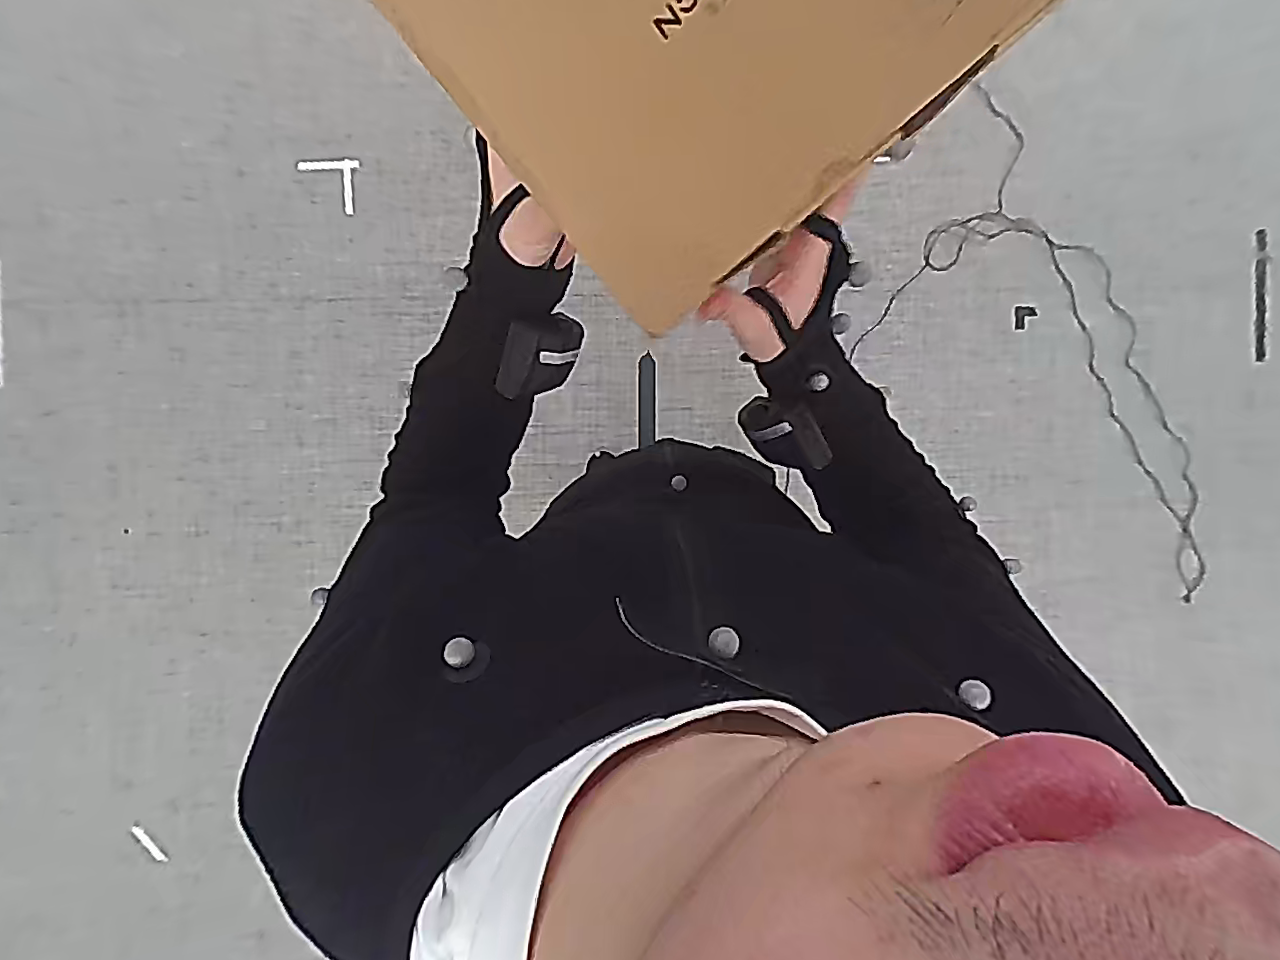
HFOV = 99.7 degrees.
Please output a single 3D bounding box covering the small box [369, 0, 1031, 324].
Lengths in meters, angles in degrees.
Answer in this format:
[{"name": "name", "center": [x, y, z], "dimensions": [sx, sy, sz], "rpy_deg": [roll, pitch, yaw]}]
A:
[{"name": "small box", "center": [0.021, -0.204, 0.237], "dimensions": [0.168, 0.176, 0.179], "rpy_deg": [-38, 106, 25]}]
